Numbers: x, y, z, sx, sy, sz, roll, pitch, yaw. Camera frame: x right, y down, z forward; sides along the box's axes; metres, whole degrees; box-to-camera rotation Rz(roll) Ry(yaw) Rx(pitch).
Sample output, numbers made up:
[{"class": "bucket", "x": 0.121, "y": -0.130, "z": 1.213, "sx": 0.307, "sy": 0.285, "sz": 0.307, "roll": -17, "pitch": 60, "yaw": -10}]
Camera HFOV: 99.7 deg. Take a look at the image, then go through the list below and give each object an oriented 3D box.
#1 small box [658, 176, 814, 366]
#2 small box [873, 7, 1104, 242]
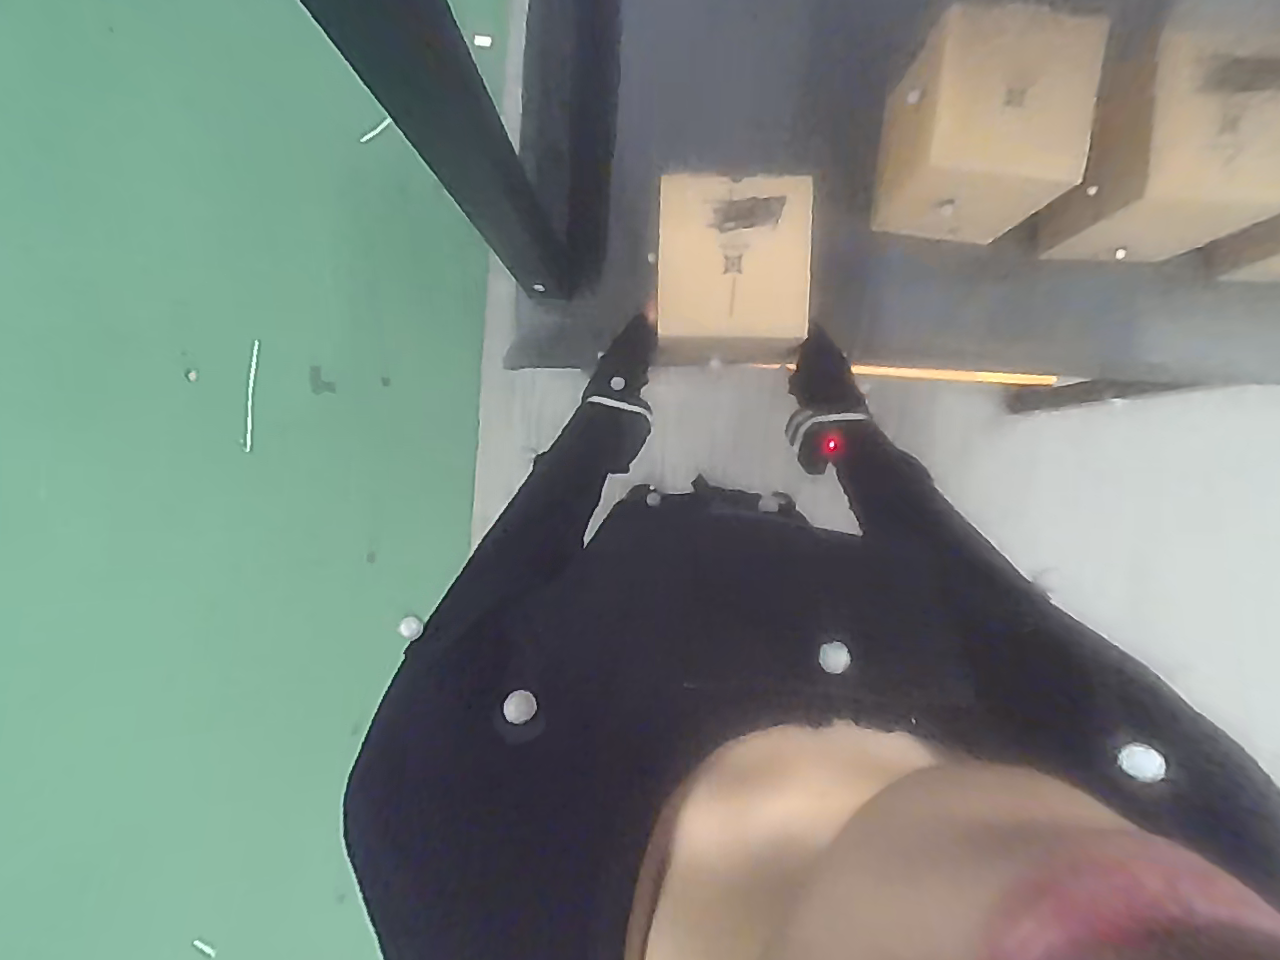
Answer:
[{"class": "small box", "x": 0.107, "y": -0.246, "z": 0.670, "sx": 0.168, "sy": 0.176, "sz": 0.179, "roll": 1, "pitch": 93, "yaw": 2}, {"class": "small box", "x": 0.404, "y": -0.413, "z": 0.659, "sx": 0.168, "sy": 0.176, "sz": 0.179, "roll": 8, "pitch": 91, "yaw": 2}]
